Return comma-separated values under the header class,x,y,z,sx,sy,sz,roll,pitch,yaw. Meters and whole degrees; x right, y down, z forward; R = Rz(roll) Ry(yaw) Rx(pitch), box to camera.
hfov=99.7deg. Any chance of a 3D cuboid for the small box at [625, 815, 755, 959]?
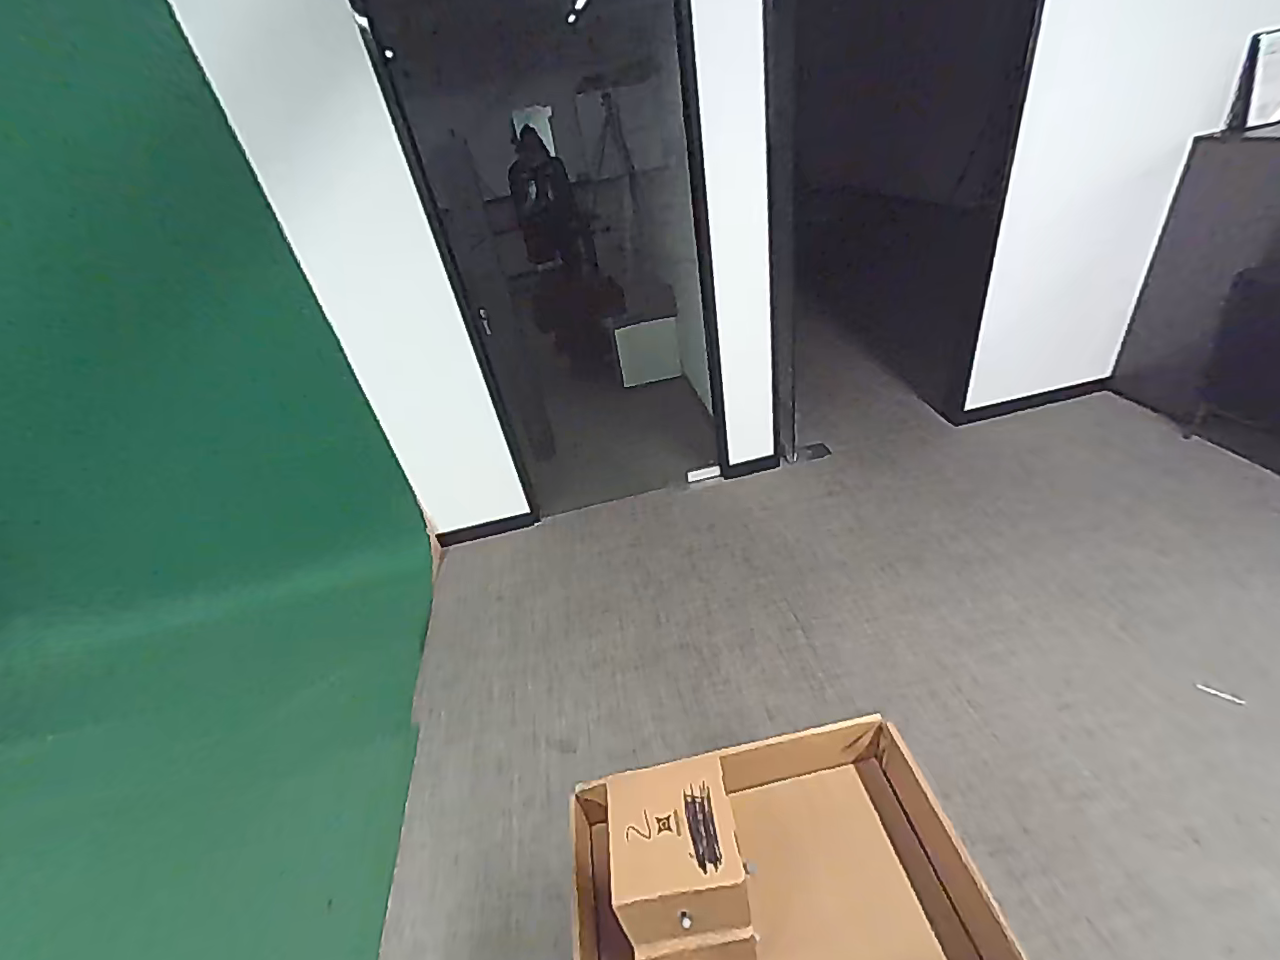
class,x,y,z,sx,sy,sz,roll,pitch,yaw
small box,0.081,0.678,0.871,0.179,0.176,0.168,-12,34,0
